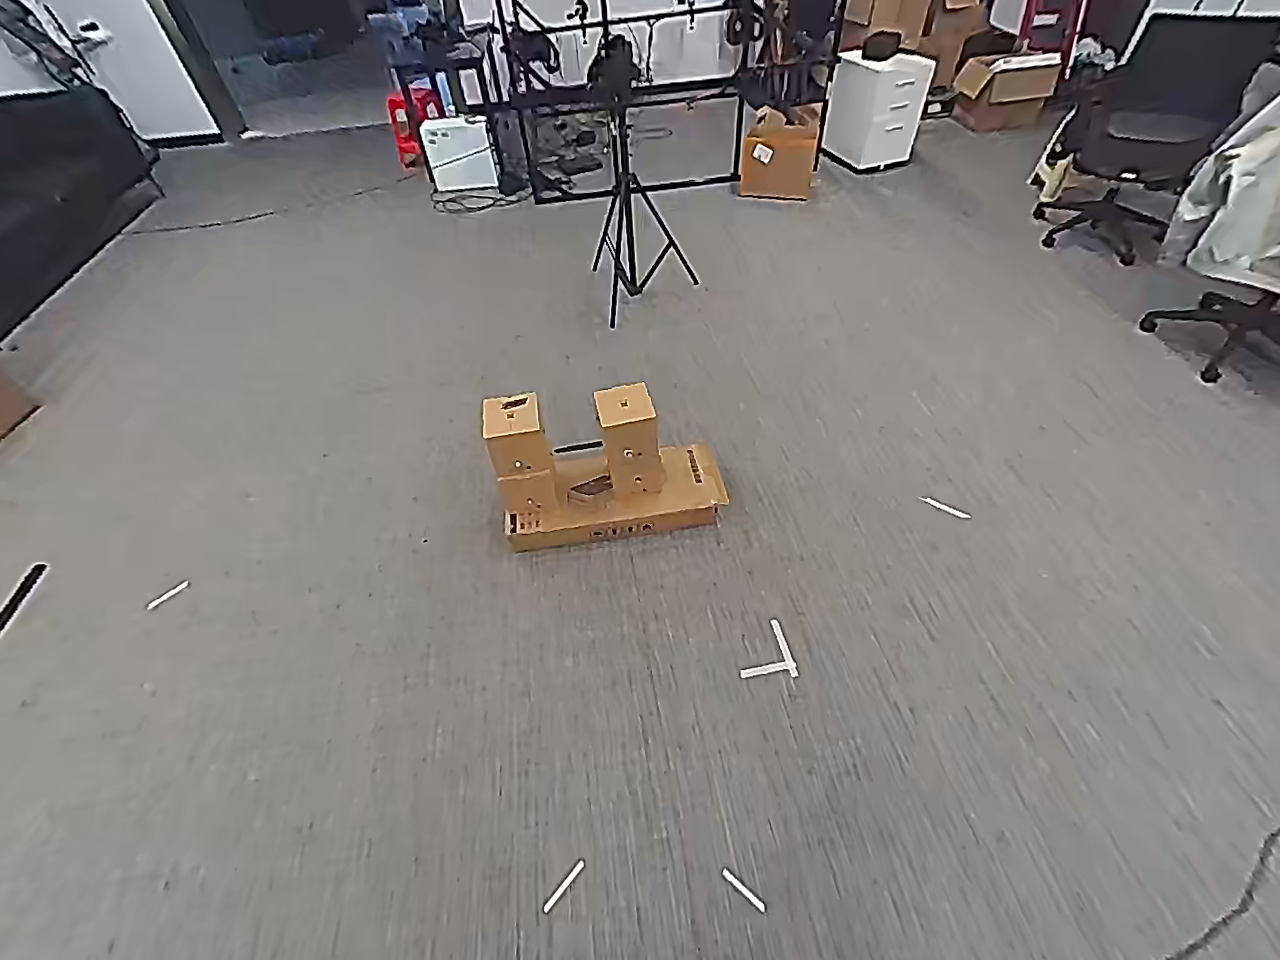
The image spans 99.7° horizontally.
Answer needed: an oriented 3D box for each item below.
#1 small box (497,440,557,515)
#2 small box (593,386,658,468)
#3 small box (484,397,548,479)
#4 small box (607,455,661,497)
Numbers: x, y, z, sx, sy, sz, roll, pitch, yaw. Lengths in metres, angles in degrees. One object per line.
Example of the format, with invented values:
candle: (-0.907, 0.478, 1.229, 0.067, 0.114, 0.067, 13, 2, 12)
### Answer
small box: (-0.371, -0.008, 1.788, 0.168, 0.176, 0.179, -9, 48, -4)
small box: (-0.045, -0.166, 1.693, 0.168, 0.176, 0.179, -13, 49, -6)
small box: (-0.383, -0.129, 1.678, 0.168, 0.176, 0.179, -10, 48, -5)
small box: (-0.026, -0.058, 1.815, 0.168, 0.176, 0.179, -10, 49, -4)
